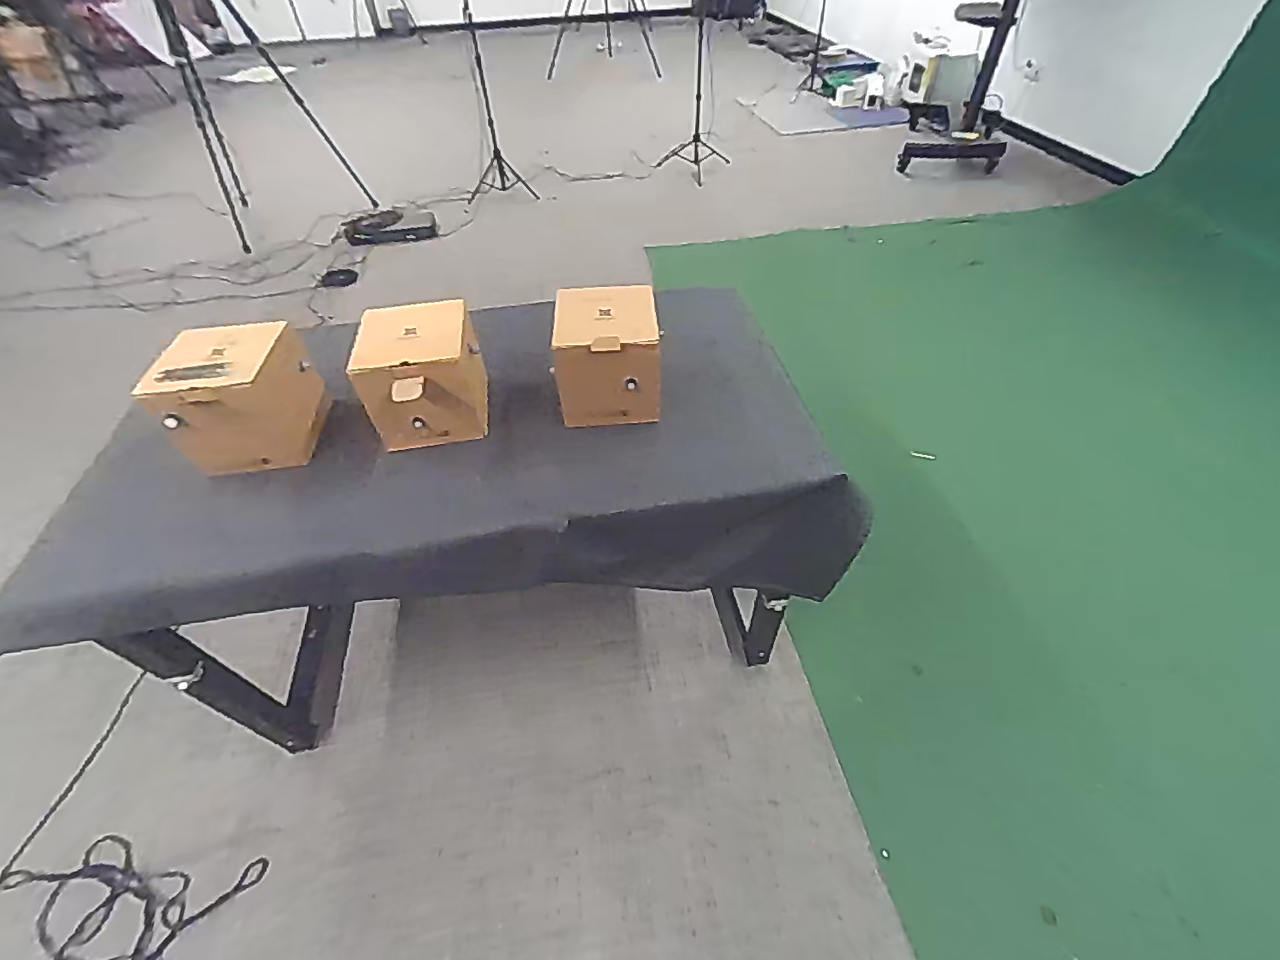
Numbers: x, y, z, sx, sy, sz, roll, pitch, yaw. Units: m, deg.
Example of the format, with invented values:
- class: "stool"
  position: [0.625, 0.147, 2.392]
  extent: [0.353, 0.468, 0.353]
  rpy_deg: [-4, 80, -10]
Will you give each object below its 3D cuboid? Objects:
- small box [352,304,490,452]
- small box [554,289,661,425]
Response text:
- class: "small box"
  position: [-0.356, -0.172, 0.914]
  extent: [0.168, 0.176, 0.179]
  rpy_deg: [-9, 48, -6]
- class: "small box"
  position: [-0.051, -0.207, 0.933]
  extent: [0.168, 0.176, 0.179]
  rpy_deg: [-3, 46, -2]
